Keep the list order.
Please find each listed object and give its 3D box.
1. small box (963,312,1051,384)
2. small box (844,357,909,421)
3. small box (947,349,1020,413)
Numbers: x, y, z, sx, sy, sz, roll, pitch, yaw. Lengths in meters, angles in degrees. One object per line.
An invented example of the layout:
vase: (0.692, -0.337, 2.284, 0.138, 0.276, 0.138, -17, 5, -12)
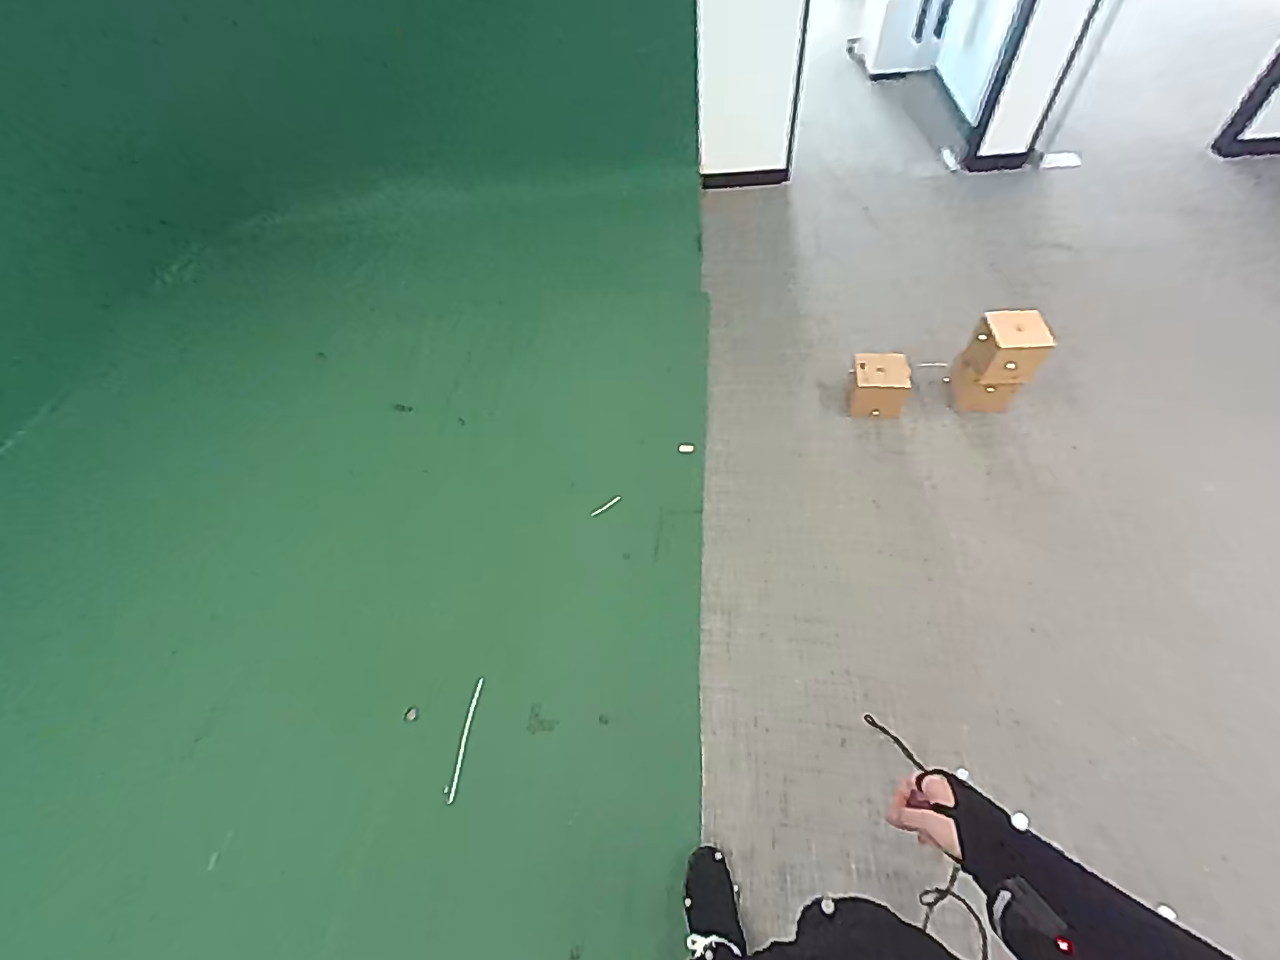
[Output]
small box: (1.218, -0.435, 1.807, 0.168, 0.176, 0.179, -2, 55, 6)
small box: (0.860, -0.329, 1.980, 0.179, 0.176, 0.168, 3, 55, 9)
small box: (1.231, -0.355, 1.948, 0.179, 0.176, 0.168, 2, 55, 8)
